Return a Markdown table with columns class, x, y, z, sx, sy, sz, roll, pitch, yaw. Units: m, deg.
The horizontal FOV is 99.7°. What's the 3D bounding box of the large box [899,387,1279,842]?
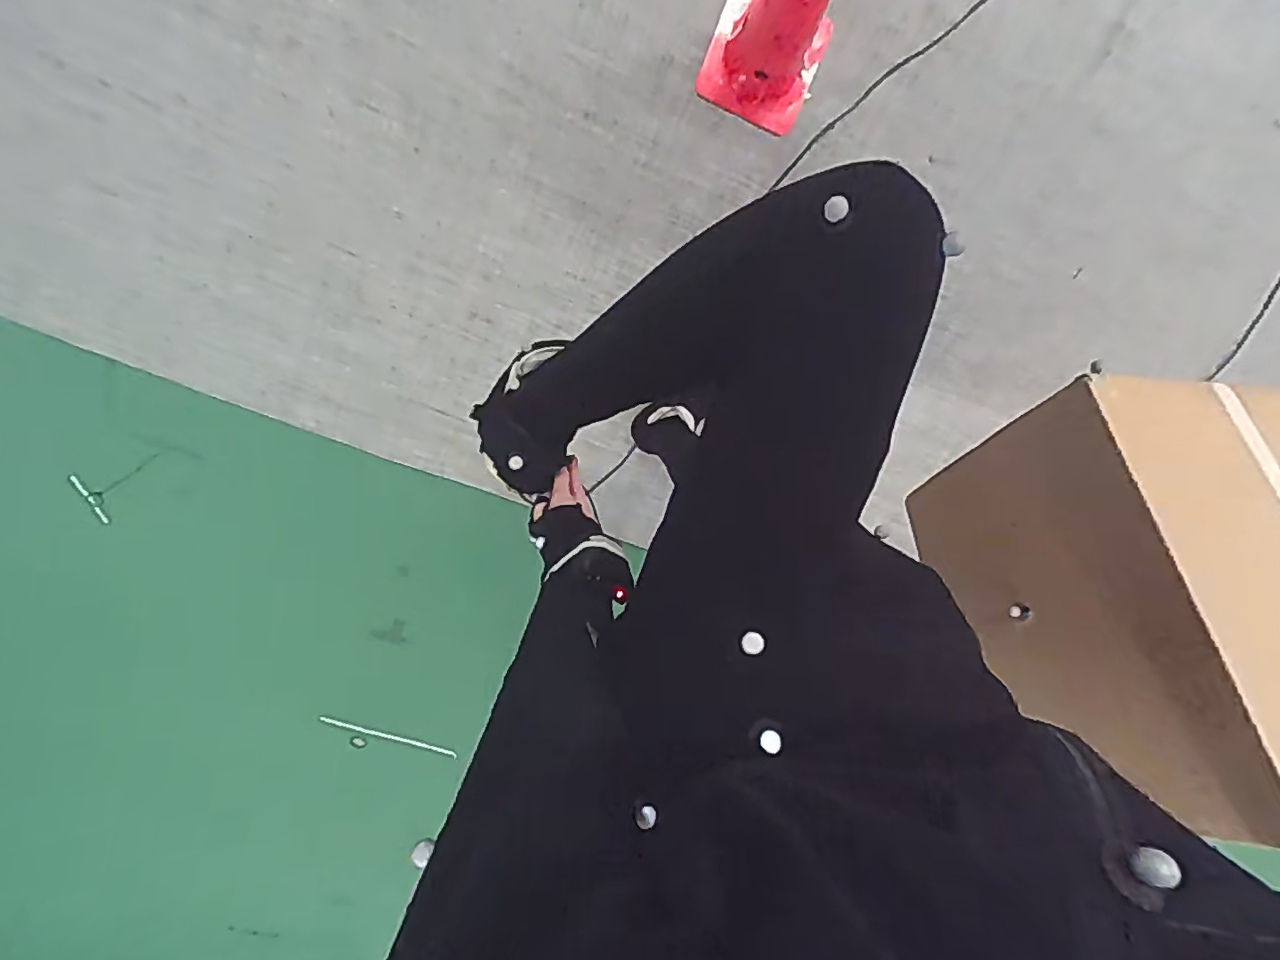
| class | x | y | z | sx | sy | sz | roll | pitch | yaw |
| --- | --- | --- | --- | --- | --- | --- | --- | --- | --- |
| large box | 0.568 | 0.152 | 0.627 | 0.320 | 0.408 | 0.320 | 3 | 153 | -10 |
